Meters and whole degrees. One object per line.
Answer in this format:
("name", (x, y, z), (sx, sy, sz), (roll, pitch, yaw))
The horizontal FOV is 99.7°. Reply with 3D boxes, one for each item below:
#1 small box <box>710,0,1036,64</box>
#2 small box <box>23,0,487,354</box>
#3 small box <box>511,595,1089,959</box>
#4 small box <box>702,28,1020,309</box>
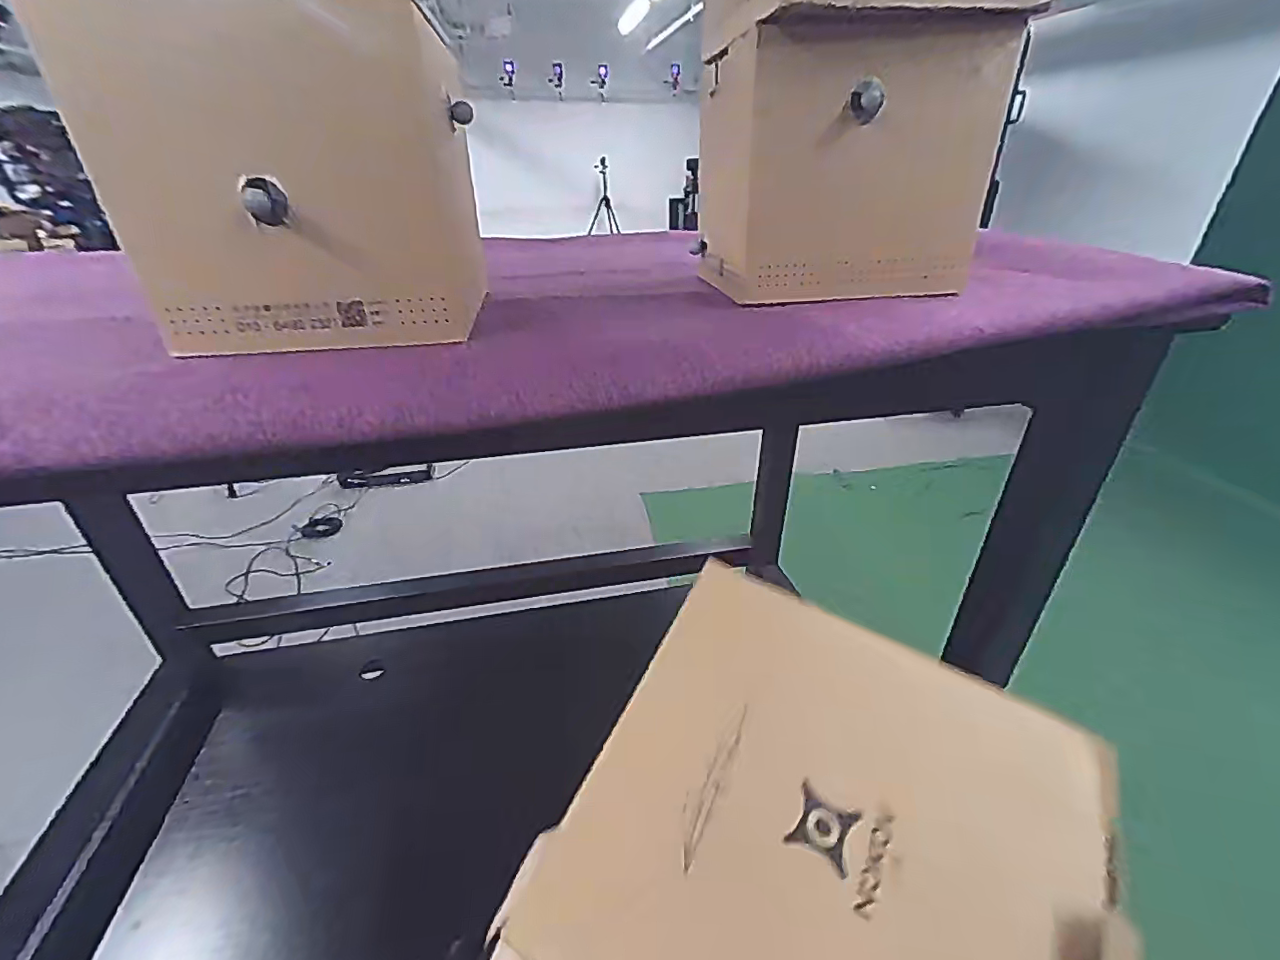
("small box", (0.147, -0.374, 0.348), (0.179, 0.176, 0.168), (-6, 29, -9))
("small box", (-0.198, -0.184, 0.352), (0.168, 0.176, 0.179), (-4, 30, -9))
("small box", (0.070, 0.193, 0.264), (0.179, 0.176, 0.168), (21, 52, 20))
("small box", (0.151, -0.239, 0.439), (0.179, 0.176, 0.168), (-4, 29, -5))
